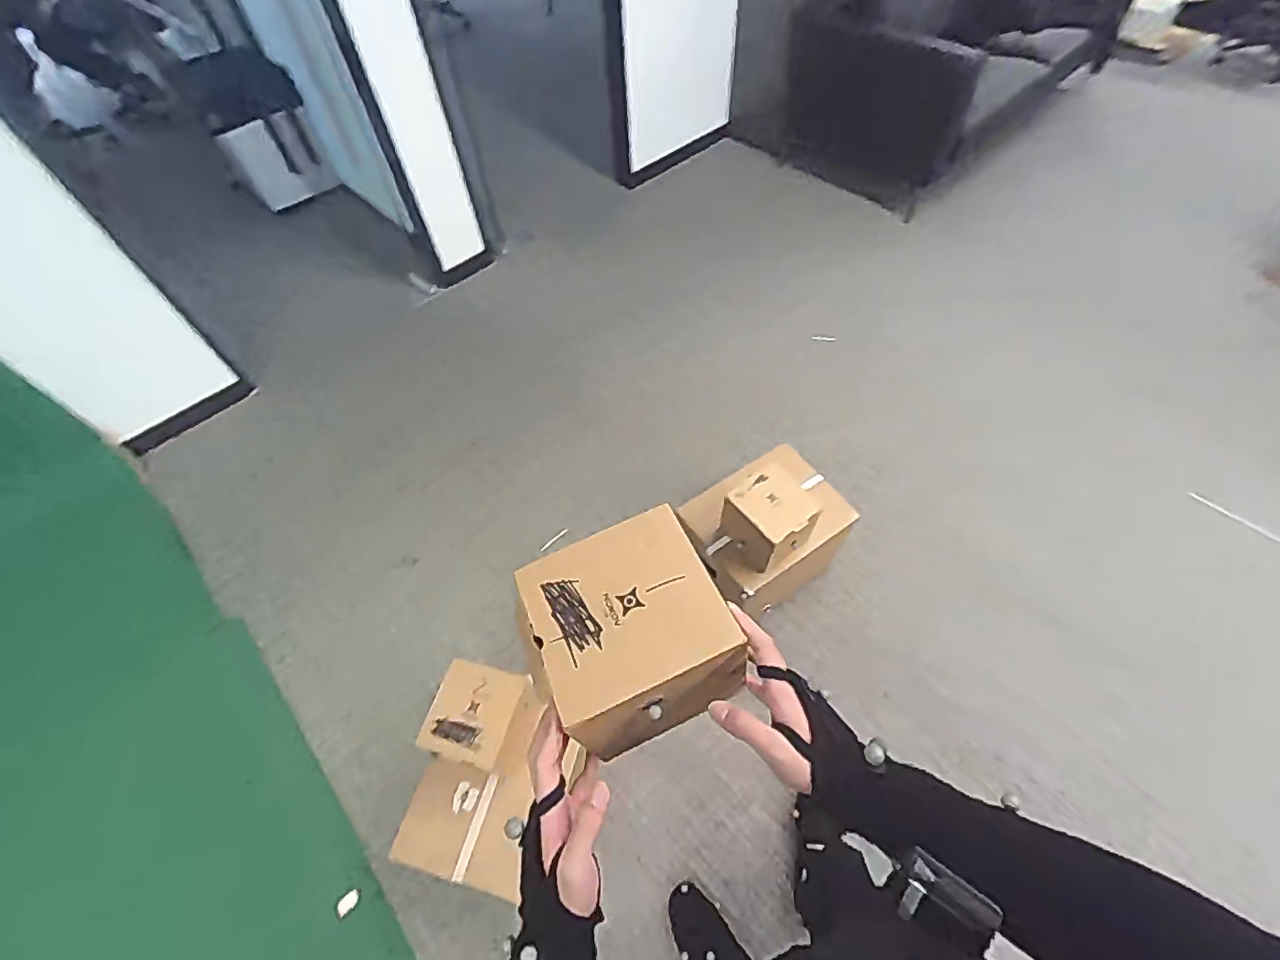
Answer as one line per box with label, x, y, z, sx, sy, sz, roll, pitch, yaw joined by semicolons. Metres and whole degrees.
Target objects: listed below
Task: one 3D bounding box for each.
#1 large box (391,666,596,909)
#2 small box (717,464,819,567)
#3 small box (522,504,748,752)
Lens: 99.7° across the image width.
large box;-0.301;0.707;1.279;0.320;0.320;0.408;11;58;10
small box;0.316;0.100;1.368;0.168;0.176;0.179;-33;62;-18
small box;0.000;0.162;0.570;0.179;0.176;0.168;-23;54;-7
